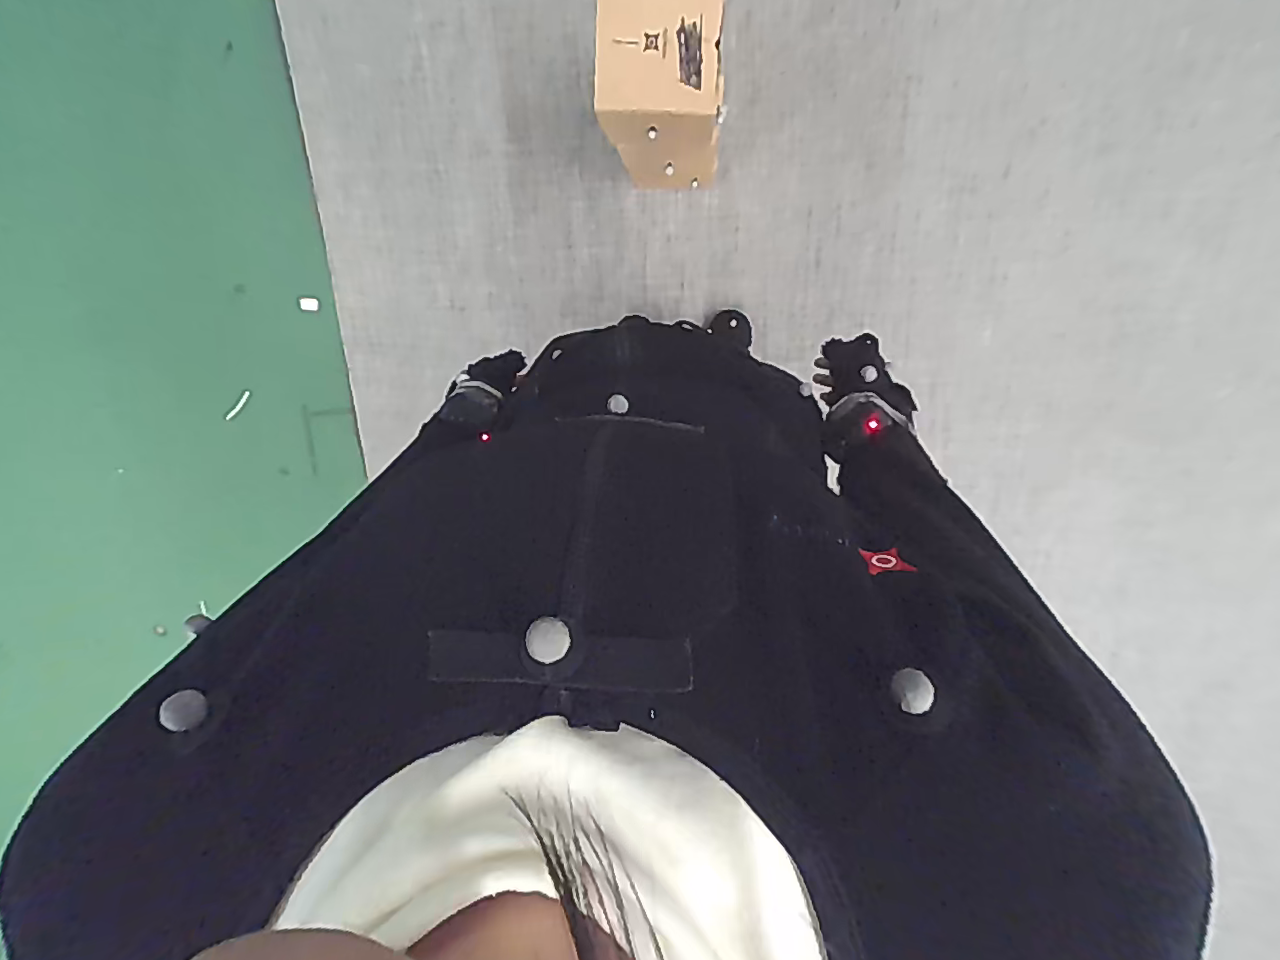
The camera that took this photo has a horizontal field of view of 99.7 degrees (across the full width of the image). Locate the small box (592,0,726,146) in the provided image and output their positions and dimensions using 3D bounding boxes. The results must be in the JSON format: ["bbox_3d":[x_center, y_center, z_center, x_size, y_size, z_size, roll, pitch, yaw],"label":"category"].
[{"bbox_3d":[0.033,-0.626,0.822,0.179,0.176,0.168,7,108,6],"label":"small box"}]

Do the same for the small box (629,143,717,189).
[{"bbox_3d":[0.073,-0.720,1.135,0.179,0.176,0.168,2,107,7],"label":"small box"}]

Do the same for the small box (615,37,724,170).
[{"bbox_3d":[0.053,-0.674,0.979,0.179,0.176,0.168,4,108,4],"label":"small box"}]
